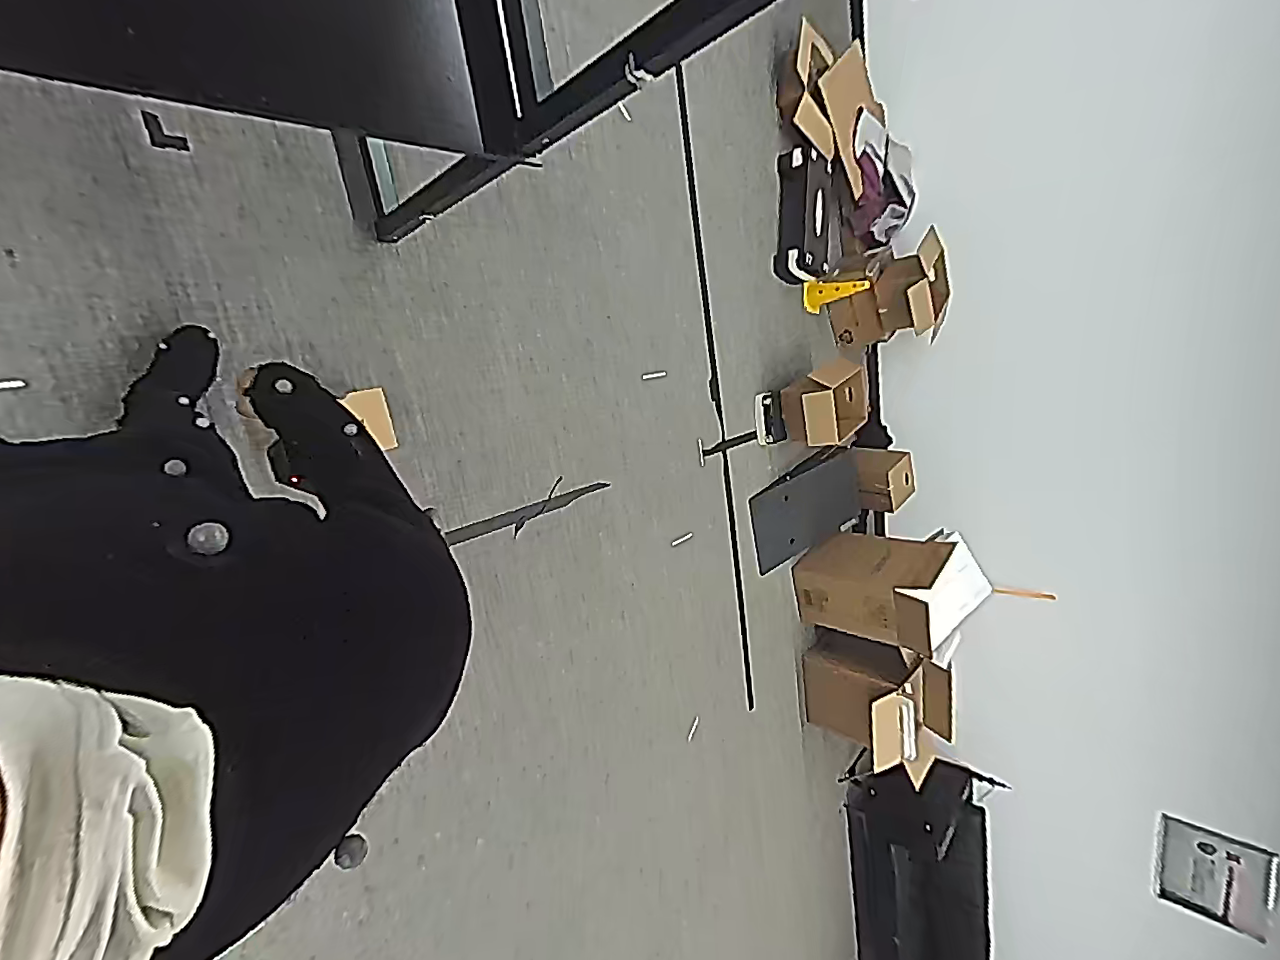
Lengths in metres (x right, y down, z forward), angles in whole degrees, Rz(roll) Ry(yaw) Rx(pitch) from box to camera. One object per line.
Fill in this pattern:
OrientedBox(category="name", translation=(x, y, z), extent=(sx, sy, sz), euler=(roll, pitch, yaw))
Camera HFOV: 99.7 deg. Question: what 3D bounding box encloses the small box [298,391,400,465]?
OrientedBox(category="small box", translation=(-0.783, -0.143, 1.454), extent=(0.179, 0.176, 0.168), euler=(-23, 109, -42))
